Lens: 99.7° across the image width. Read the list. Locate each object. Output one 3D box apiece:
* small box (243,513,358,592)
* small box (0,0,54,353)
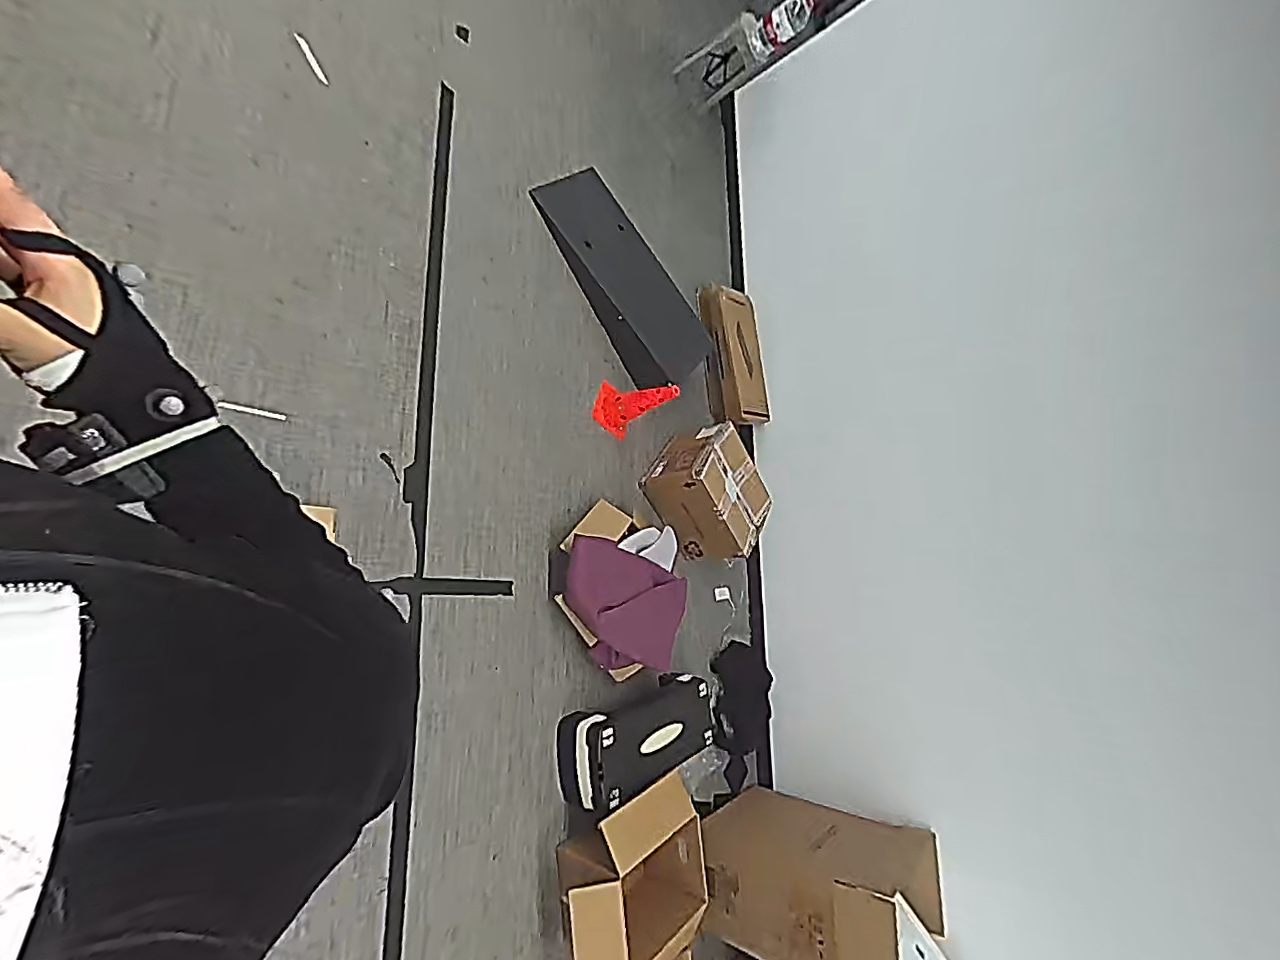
[{"bbox_3d":[-0.779,0.171,1.244,0.179,0.176,0.168,11,73,-47],"label":"small box"},{"bbox_3d":[-0.351,-0.149,0.198,0.168,0.176,0.179,-8,99,-50],"label":"small box"}]
